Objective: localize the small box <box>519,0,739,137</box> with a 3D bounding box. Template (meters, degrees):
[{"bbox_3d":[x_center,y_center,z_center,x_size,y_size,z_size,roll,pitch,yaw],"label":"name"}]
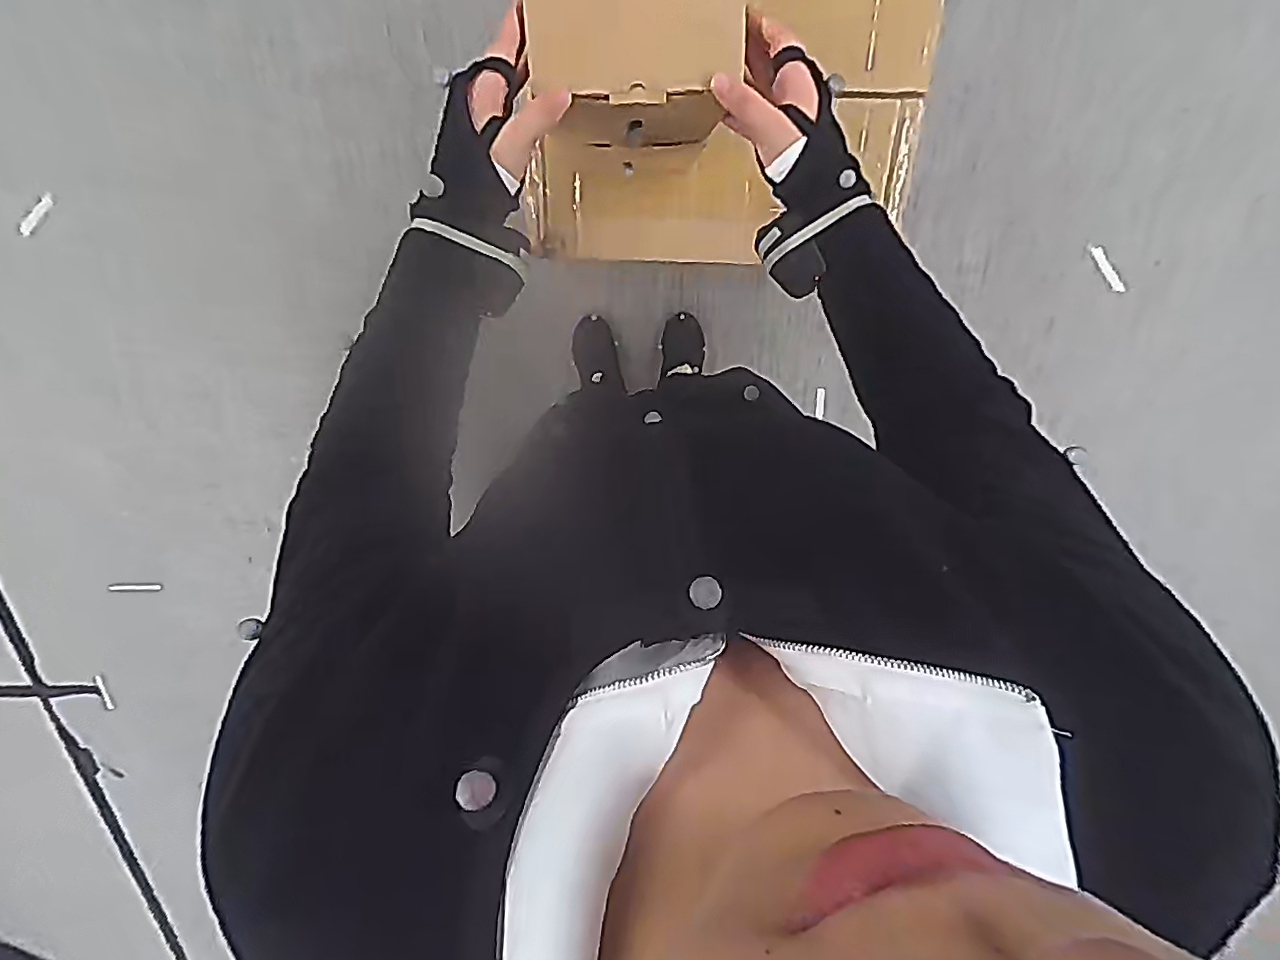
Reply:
[{"bbox_3d":[-0.010,-0.407,0.462,0.168,0.176,0.179,-3,112,-1],"label":"small box"}]

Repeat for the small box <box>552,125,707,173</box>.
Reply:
[{"bbox_3d":[-0.015,-0.465,0.616,0.168,0.176,0.179,-1,111,-2],"label":"small box"}]
